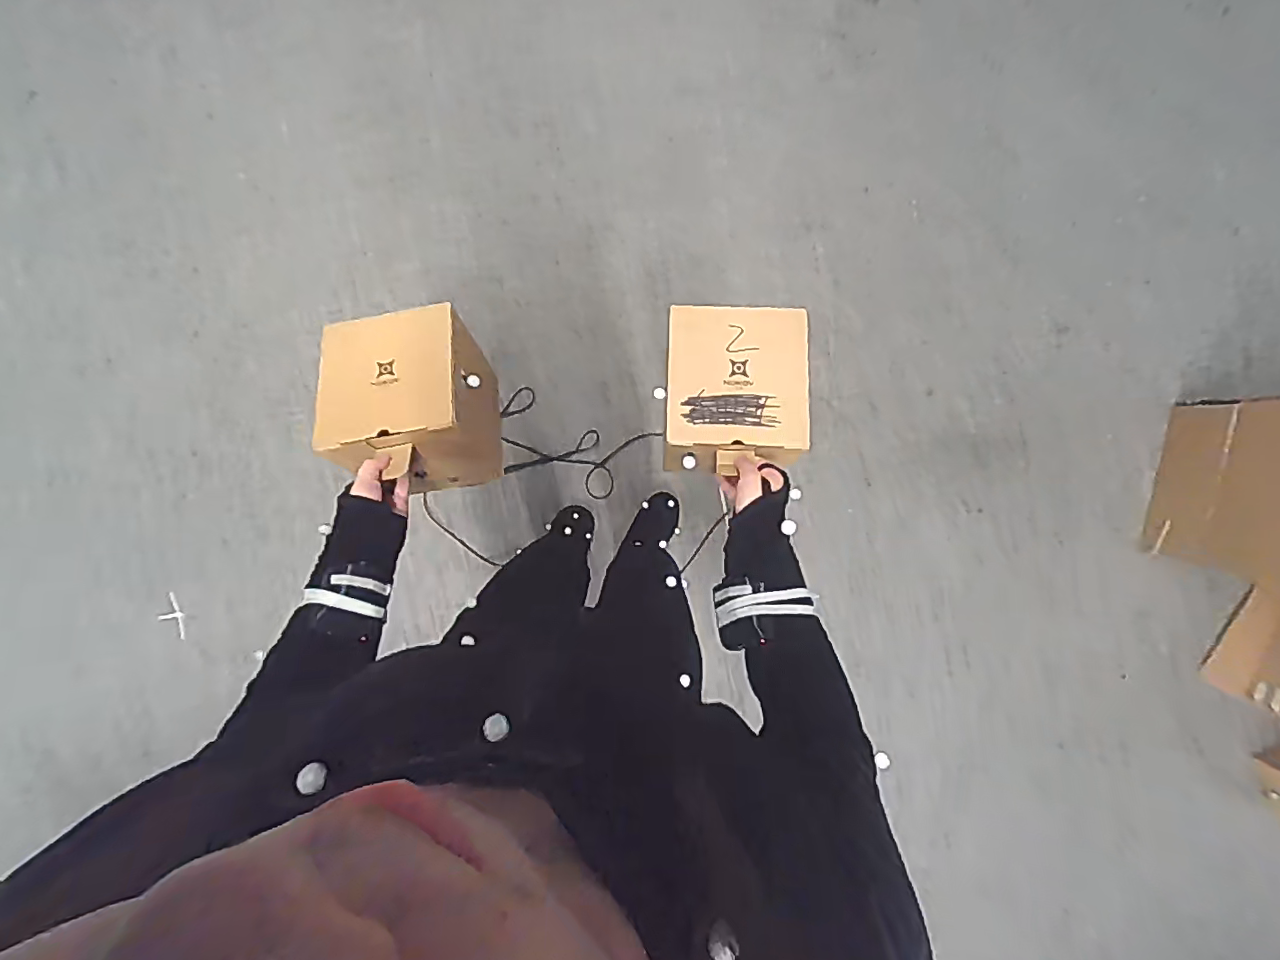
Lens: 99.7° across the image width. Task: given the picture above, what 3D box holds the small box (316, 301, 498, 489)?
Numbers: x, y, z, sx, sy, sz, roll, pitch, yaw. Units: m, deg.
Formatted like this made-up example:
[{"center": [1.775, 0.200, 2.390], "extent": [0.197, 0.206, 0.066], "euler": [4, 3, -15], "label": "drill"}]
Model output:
[{"center": [-0.298, -0.106, 0.726], "extent": [0.168, 0.176, 0.179], "euler": [-9, 69, 2], "label": "small box"}]
